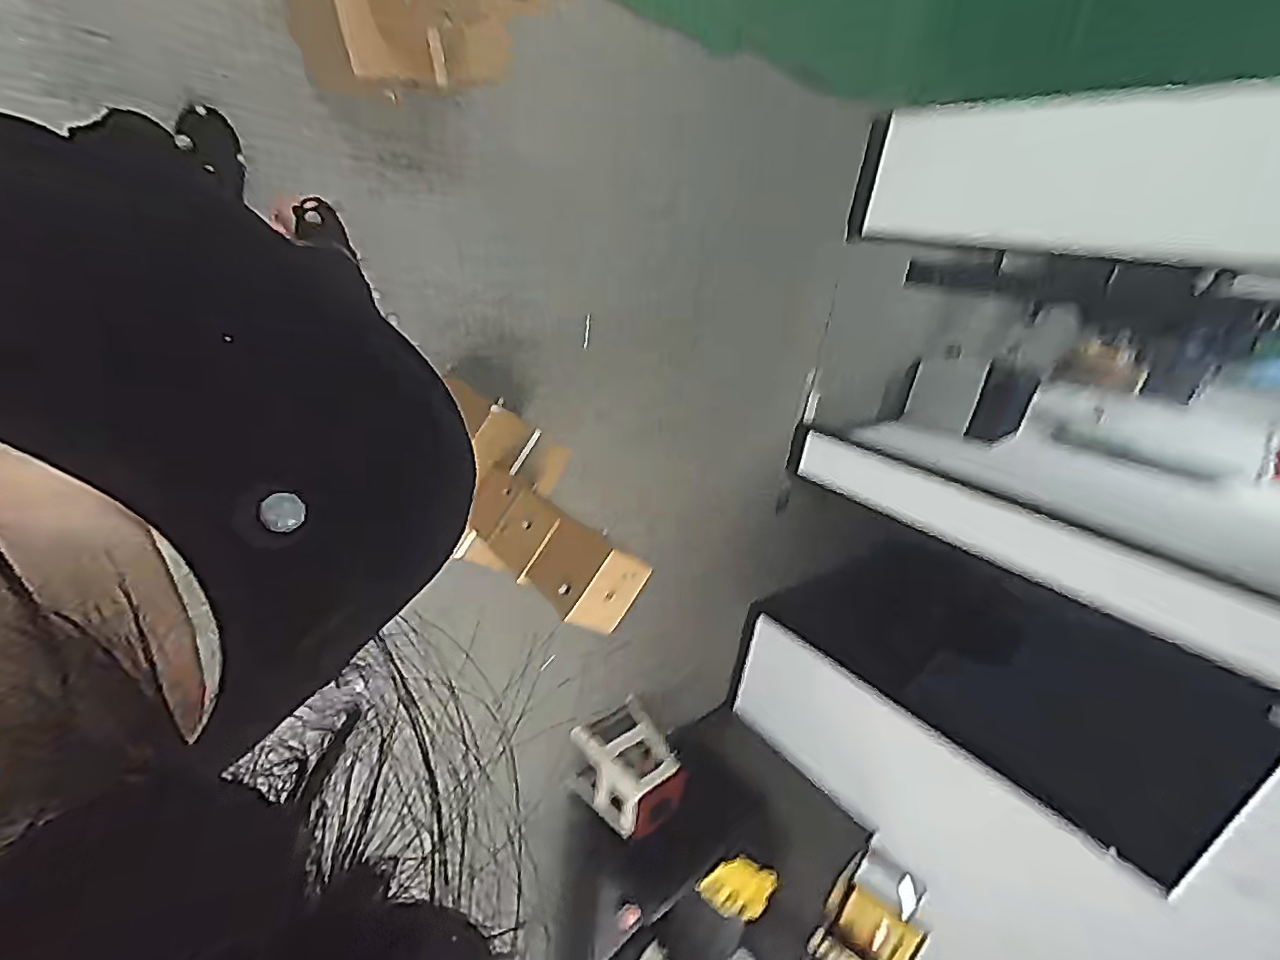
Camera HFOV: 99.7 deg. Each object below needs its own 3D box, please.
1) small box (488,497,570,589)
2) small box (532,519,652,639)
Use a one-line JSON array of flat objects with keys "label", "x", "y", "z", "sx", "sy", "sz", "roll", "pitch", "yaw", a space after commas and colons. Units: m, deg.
[{"label": "small box", "x": -0.229, "y": 0.161, "z": 1.296, "sx": 0.168, "sy": 0.176, "sz": 0.179, "roll": -57, "pitch": 140, "yaw": -3}, {"label": "small box", "x": -0.113, "y": 0.217, "z": 1.192, "sx": 0.179, "sy": 0.176, "sz": 0.168, "roll": -56, "pitch": 140, "yaw": -4}]
